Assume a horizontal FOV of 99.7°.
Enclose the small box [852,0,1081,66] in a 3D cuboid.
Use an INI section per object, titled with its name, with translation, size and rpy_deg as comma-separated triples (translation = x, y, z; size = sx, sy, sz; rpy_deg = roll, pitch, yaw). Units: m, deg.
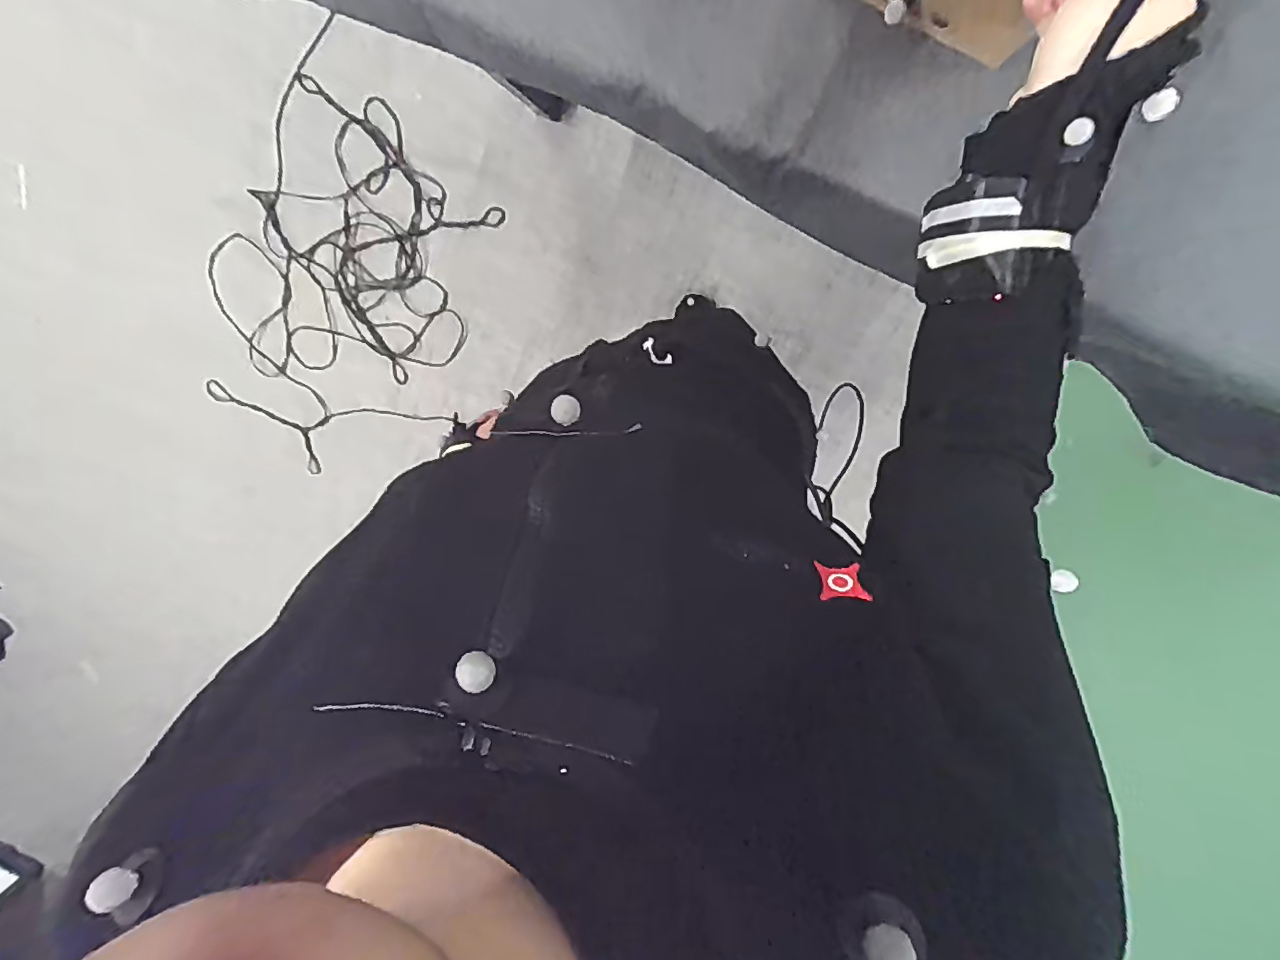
[small box]
translation = 0.242, -0.415, 0.337
size = 0.168, 0.176, 0.179
rpy_deg = 27, 112, 0
